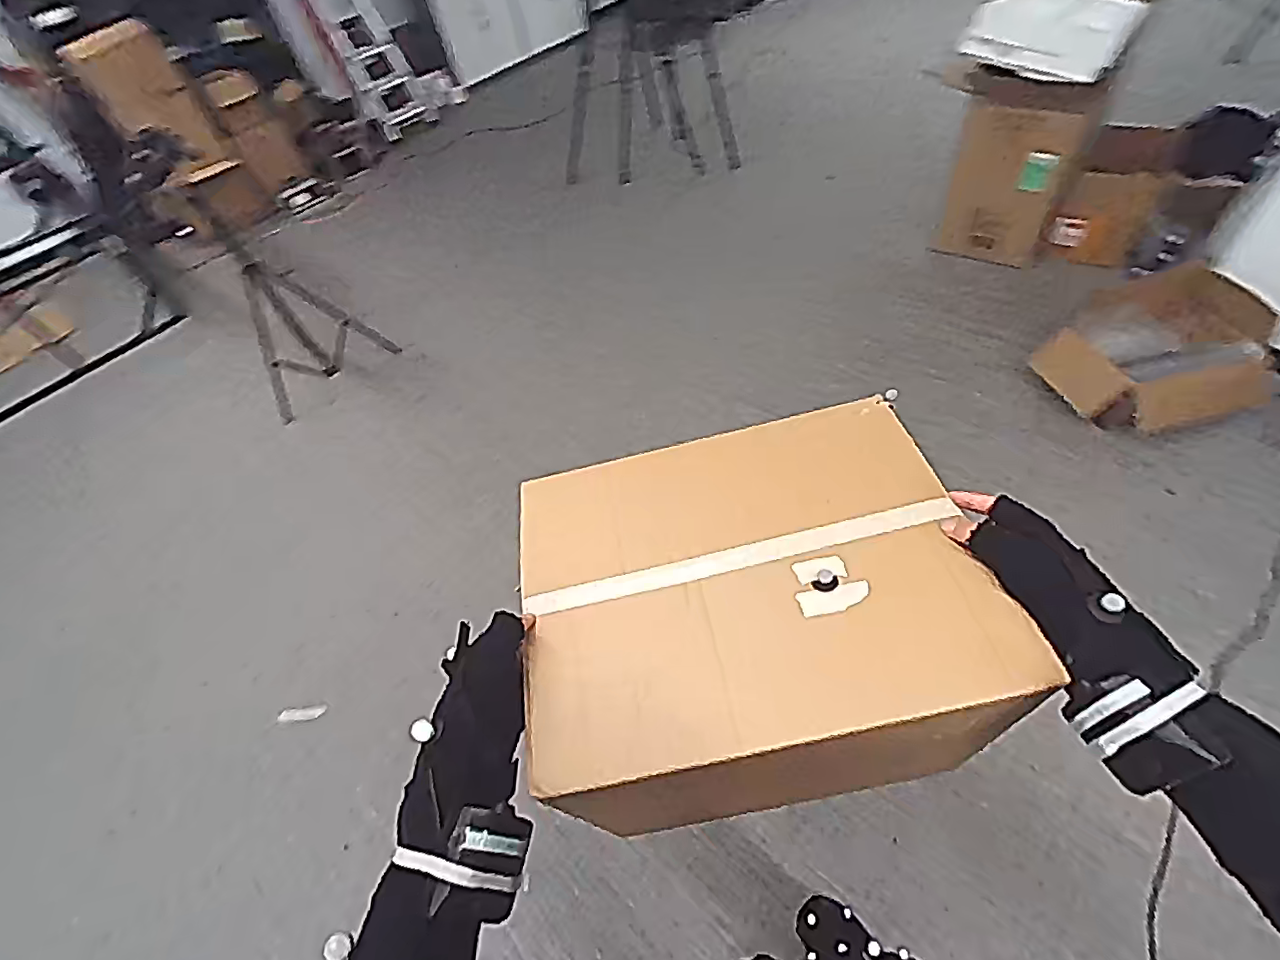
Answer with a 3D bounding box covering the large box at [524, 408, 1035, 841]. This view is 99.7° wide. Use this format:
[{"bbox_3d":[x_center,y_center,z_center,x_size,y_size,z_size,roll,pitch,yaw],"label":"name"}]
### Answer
[{"bbox_3d":[0.113,0.176,0.624,0.408,0.320,0.320,-15,50,2],"label":"large box"}]
